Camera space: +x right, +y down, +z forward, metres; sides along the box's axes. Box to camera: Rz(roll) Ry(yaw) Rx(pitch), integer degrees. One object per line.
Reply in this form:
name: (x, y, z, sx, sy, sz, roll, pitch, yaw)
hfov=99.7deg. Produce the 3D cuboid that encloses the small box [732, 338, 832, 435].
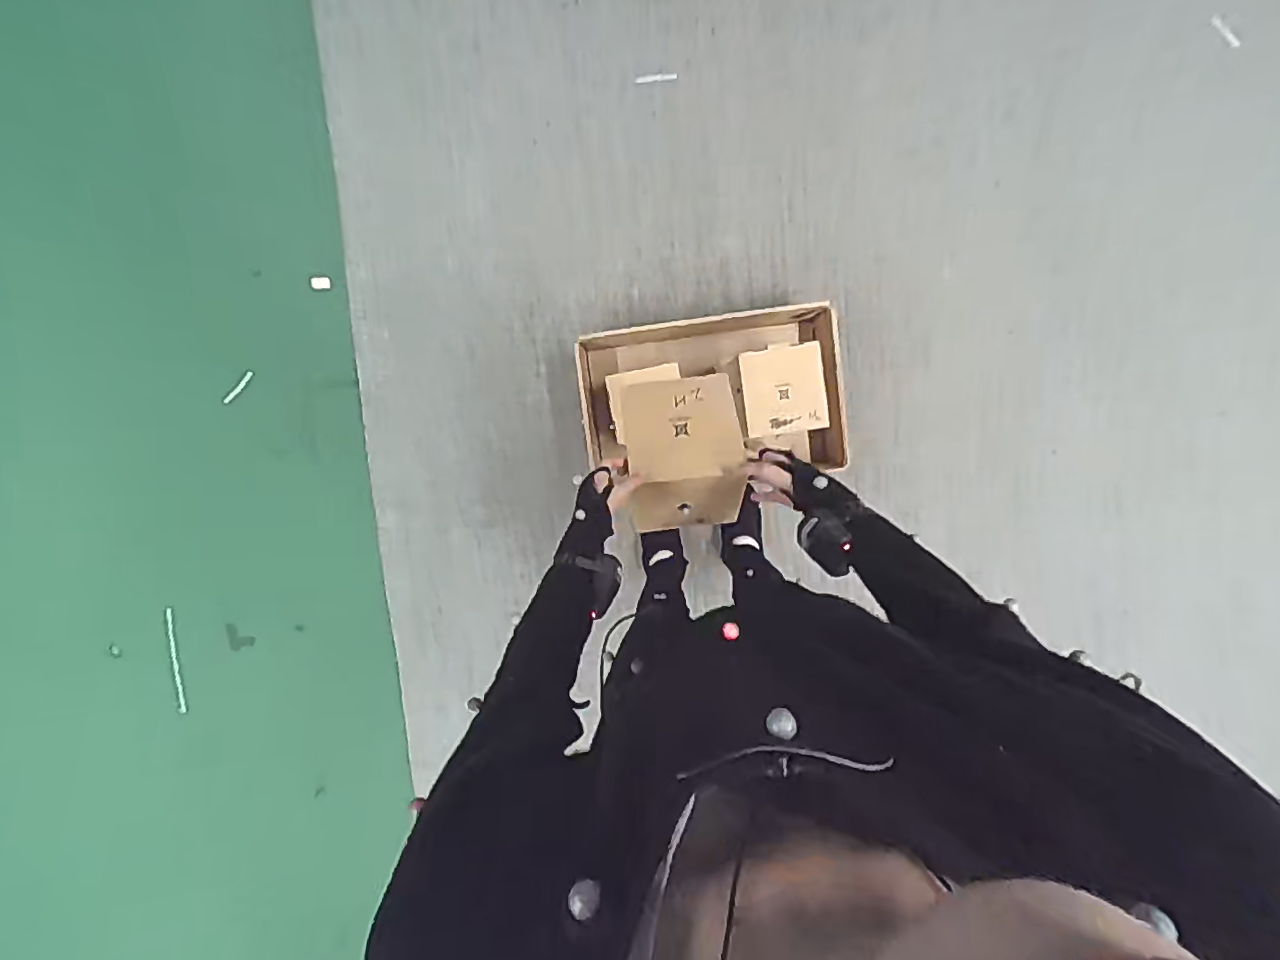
small box: (0.297, -0.193, 1.161, 0.168, 0.176, 0.179, -8, 95, 4)

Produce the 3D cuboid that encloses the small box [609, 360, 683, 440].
small box: (0.026, -0.191, 1.336, 0.179, 0.176, 0.168, -10, 96, 0)

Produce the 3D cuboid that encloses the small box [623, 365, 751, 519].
small box: (0.066, -0.049, 0.831, 0.168, 0.176, 0.179, -6, 61, -1)
